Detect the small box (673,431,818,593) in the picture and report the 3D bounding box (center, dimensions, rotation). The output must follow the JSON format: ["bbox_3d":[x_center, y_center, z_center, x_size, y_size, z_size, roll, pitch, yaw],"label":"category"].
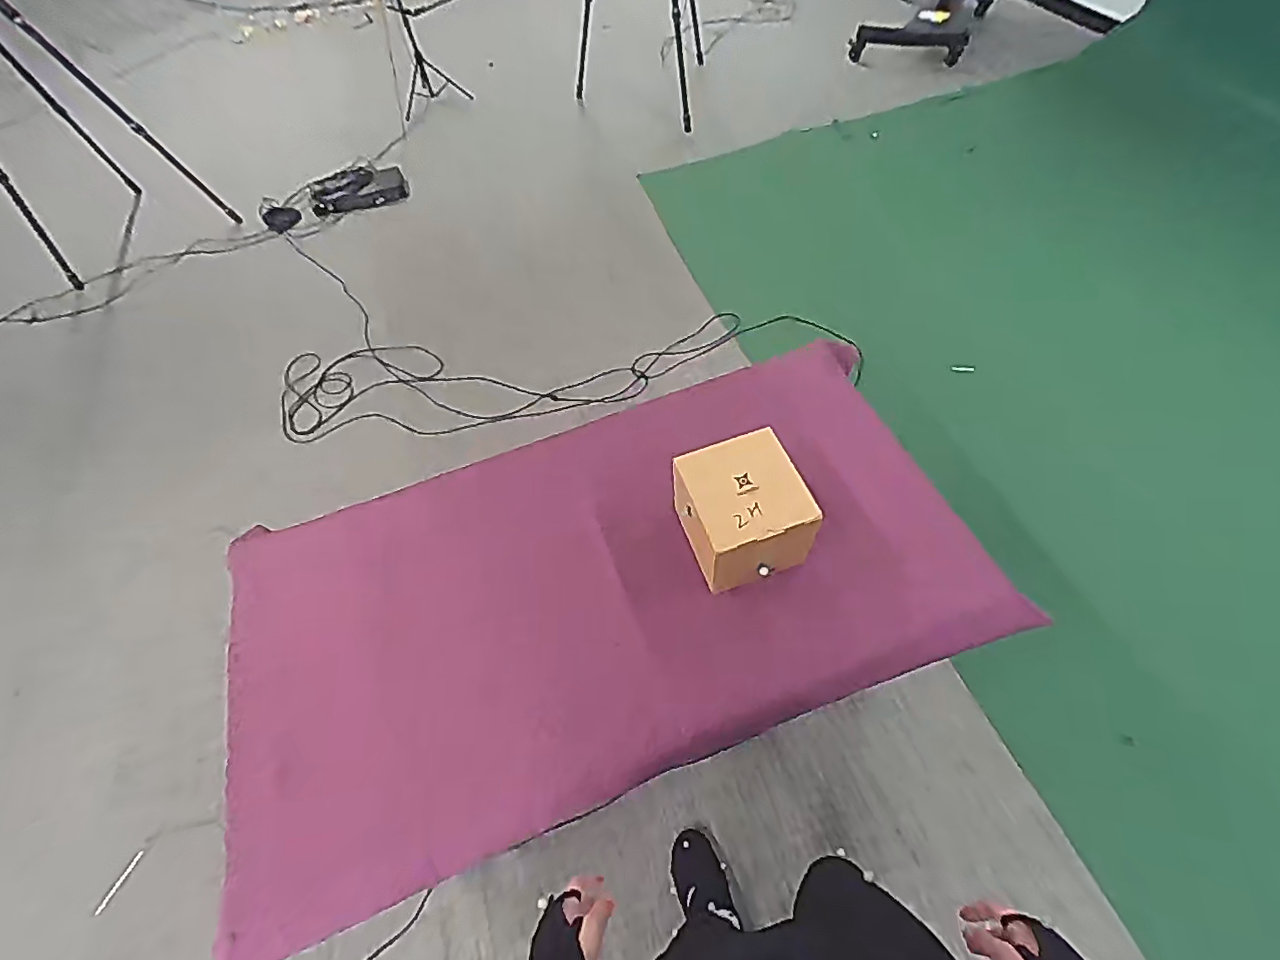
[{"bbox_3d":[0.158,0.056,0.870,0.168,0.176,0.179,-18,59,-5],"label":"small box"}]
